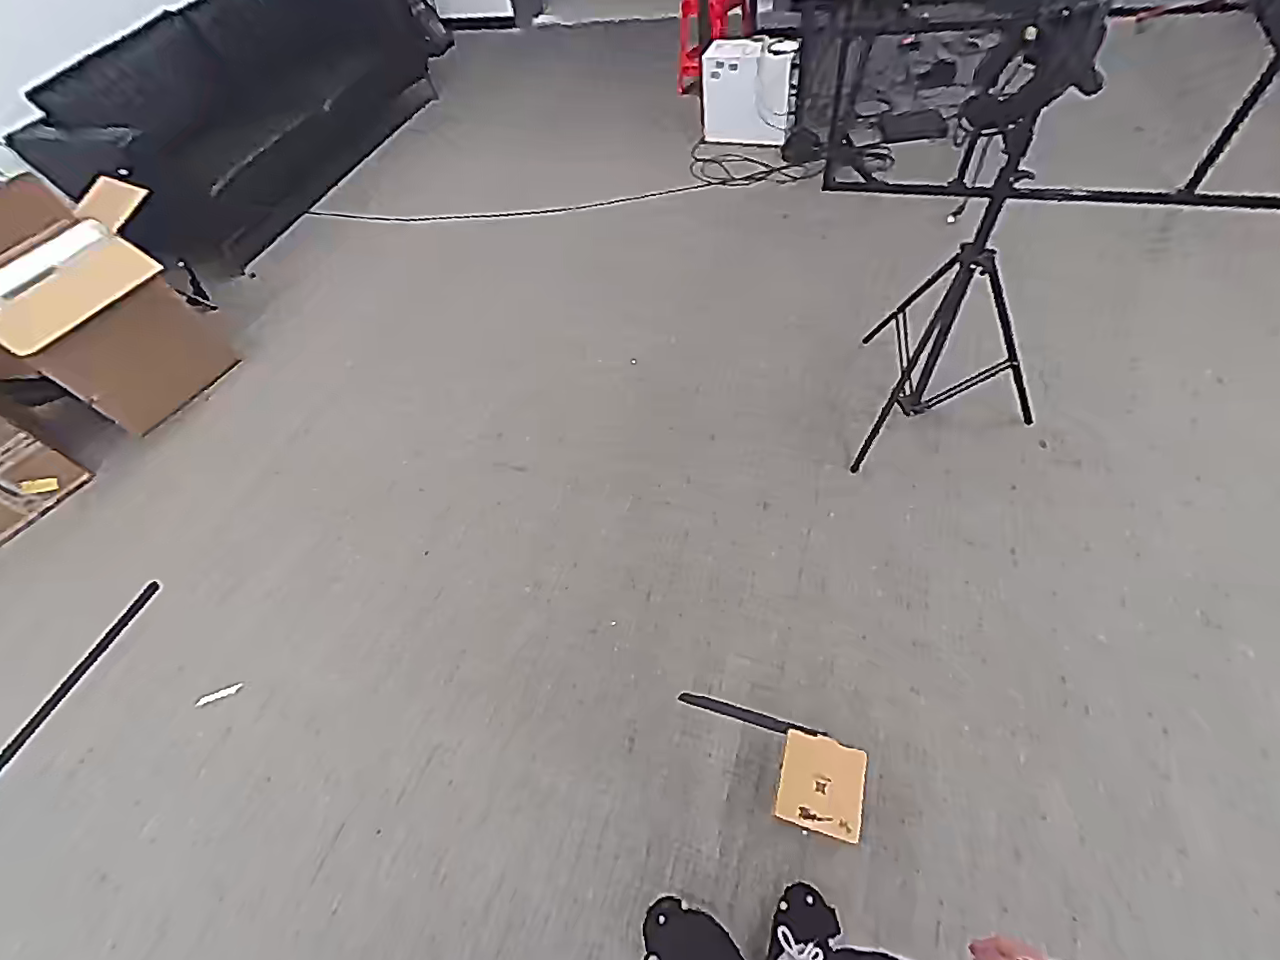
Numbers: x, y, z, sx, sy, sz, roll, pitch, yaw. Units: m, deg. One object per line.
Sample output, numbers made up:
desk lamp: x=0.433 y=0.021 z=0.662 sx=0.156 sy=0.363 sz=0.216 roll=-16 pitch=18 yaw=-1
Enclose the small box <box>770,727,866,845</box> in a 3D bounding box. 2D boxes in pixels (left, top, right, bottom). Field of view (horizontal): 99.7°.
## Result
small box: x=0.386 y=0.674 z=1.188 sx=0.168 sy=0.176 sz=0.179 roll=11 pitch=57 yaw=16
